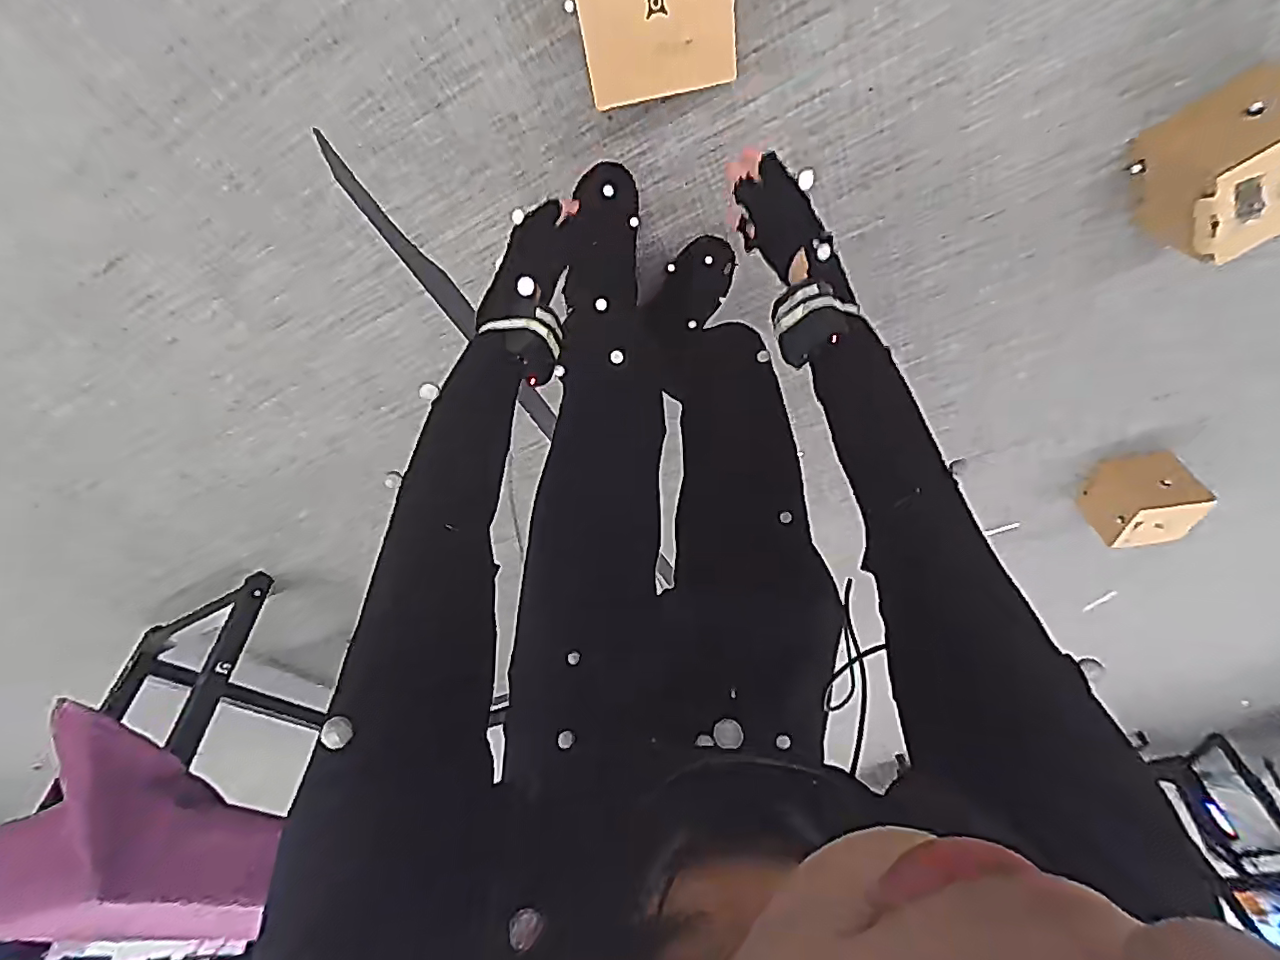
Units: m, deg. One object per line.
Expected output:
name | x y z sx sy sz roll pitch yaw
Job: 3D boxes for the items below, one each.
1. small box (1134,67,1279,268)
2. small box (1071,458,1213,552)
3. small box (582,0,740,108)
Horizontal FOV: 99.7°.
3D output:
small box | 0.882 -0.461 0.802 0.179 0.176 0.168 -30 131 23
small box | 1.280 0.062 1.395 0.179 0.176 0.168 -10 137 5
small box | 0.016 -0.560 0.614 0.168 0.176 0.179 -8 138 6
